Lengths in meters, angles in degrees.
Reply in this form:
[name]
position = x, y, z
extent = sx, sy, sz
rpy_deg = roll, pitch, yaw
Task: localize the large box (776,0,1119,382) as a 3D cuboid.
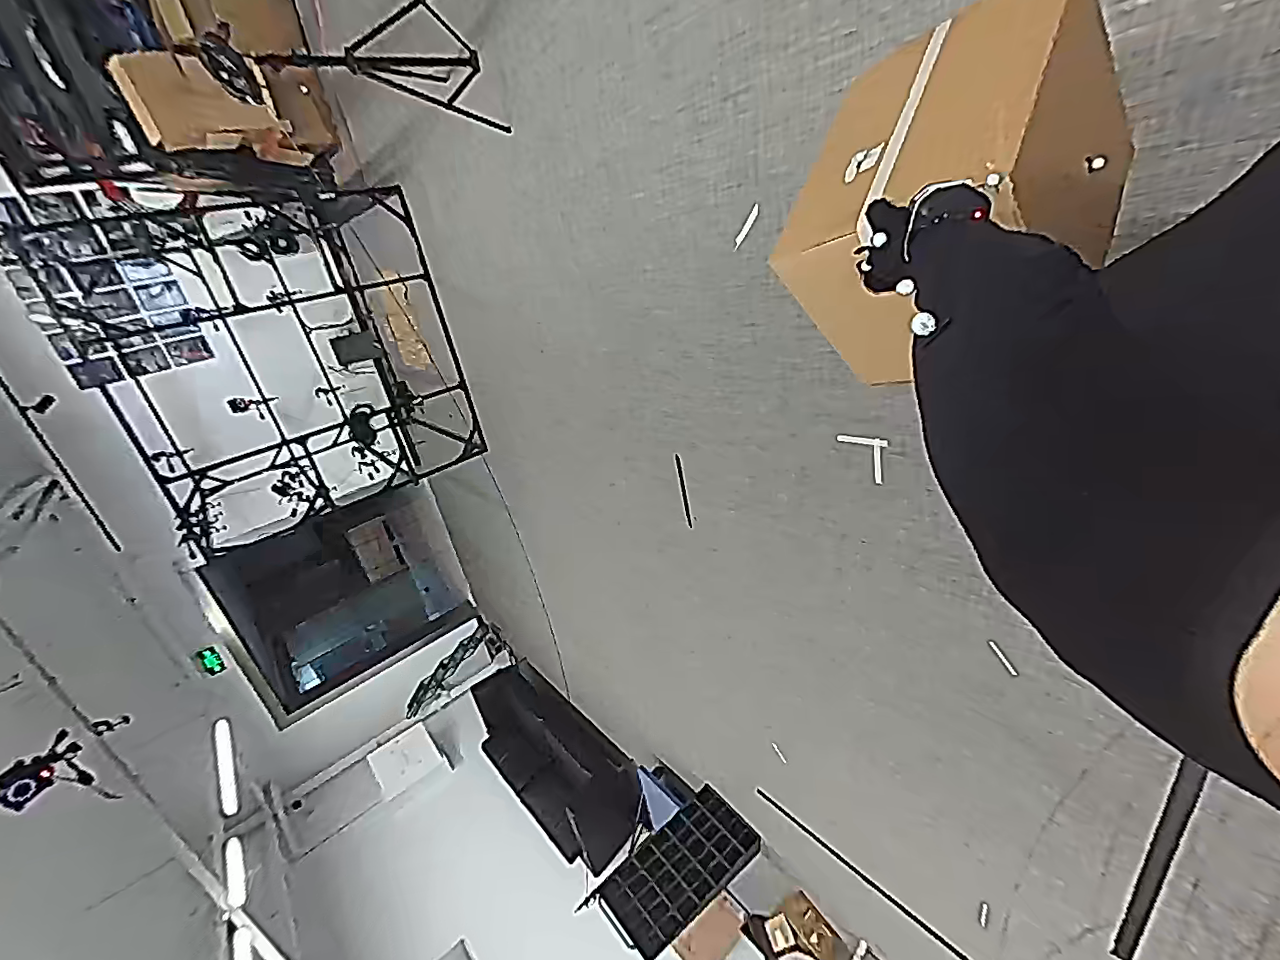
[large box]
position = 0.476, -0.411, 0.824
extent = 0.320, 0.408, 0.320
rpy_deg = 35, 162, -32
